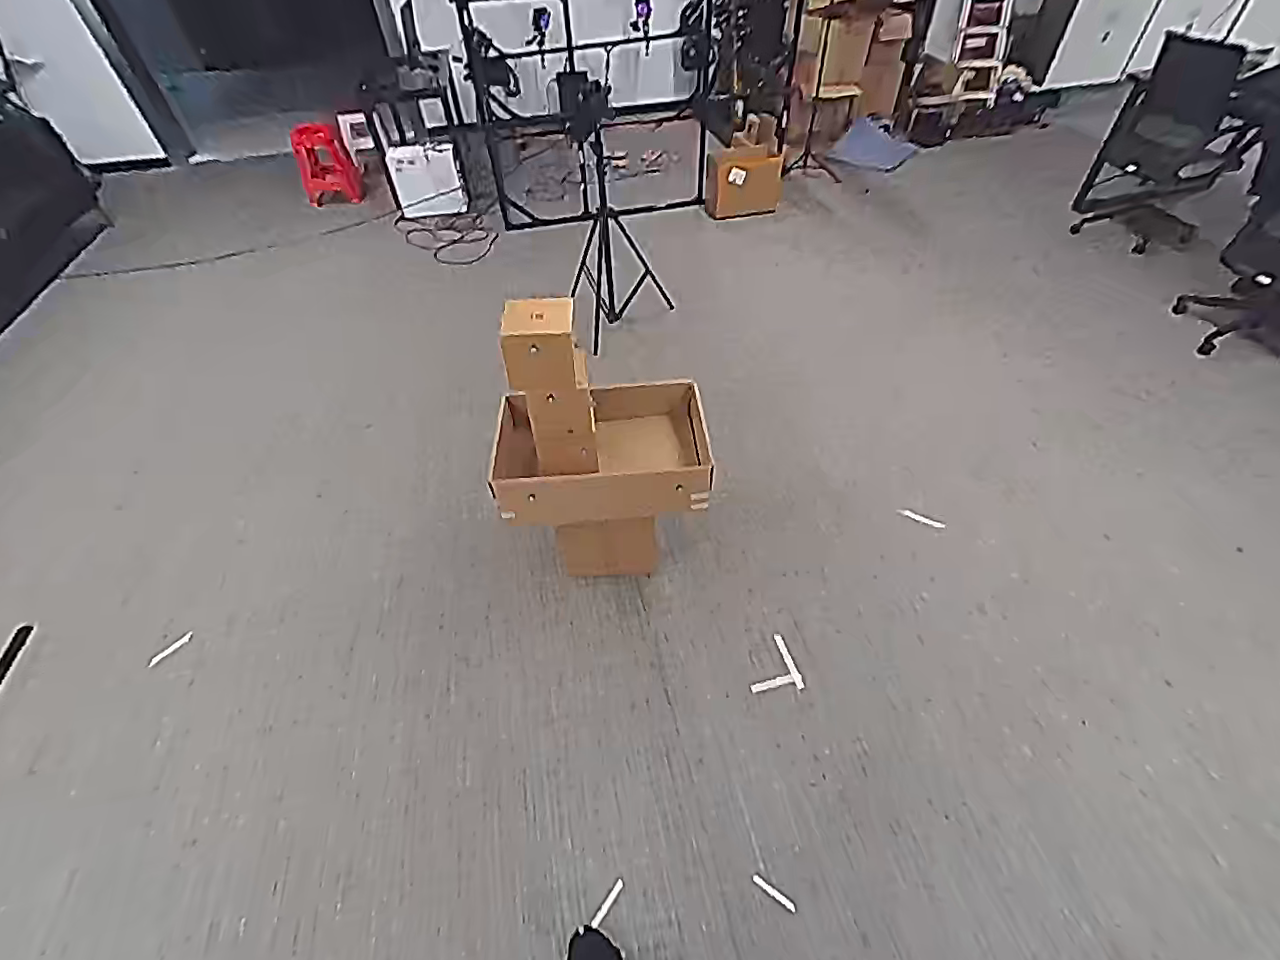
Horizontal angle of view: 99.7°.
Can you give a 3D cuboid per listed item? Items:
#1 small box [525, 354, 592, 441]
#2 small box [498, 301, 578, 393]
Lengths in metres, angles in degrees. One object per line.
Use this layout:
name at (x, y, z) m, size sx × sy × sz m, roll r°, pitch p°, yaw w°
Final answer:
small box at (-0.225, -0.230, 1.509) m, size 0.168 × 0.176 × 0.179 m, roll -6°, pitch 47°, yaw -4°
small box at (-0.253, -0.340, 1.389) m, size 0.179 × 0.176 × 0.168 m, roll -4°, pitch 47°, yaw -2°
